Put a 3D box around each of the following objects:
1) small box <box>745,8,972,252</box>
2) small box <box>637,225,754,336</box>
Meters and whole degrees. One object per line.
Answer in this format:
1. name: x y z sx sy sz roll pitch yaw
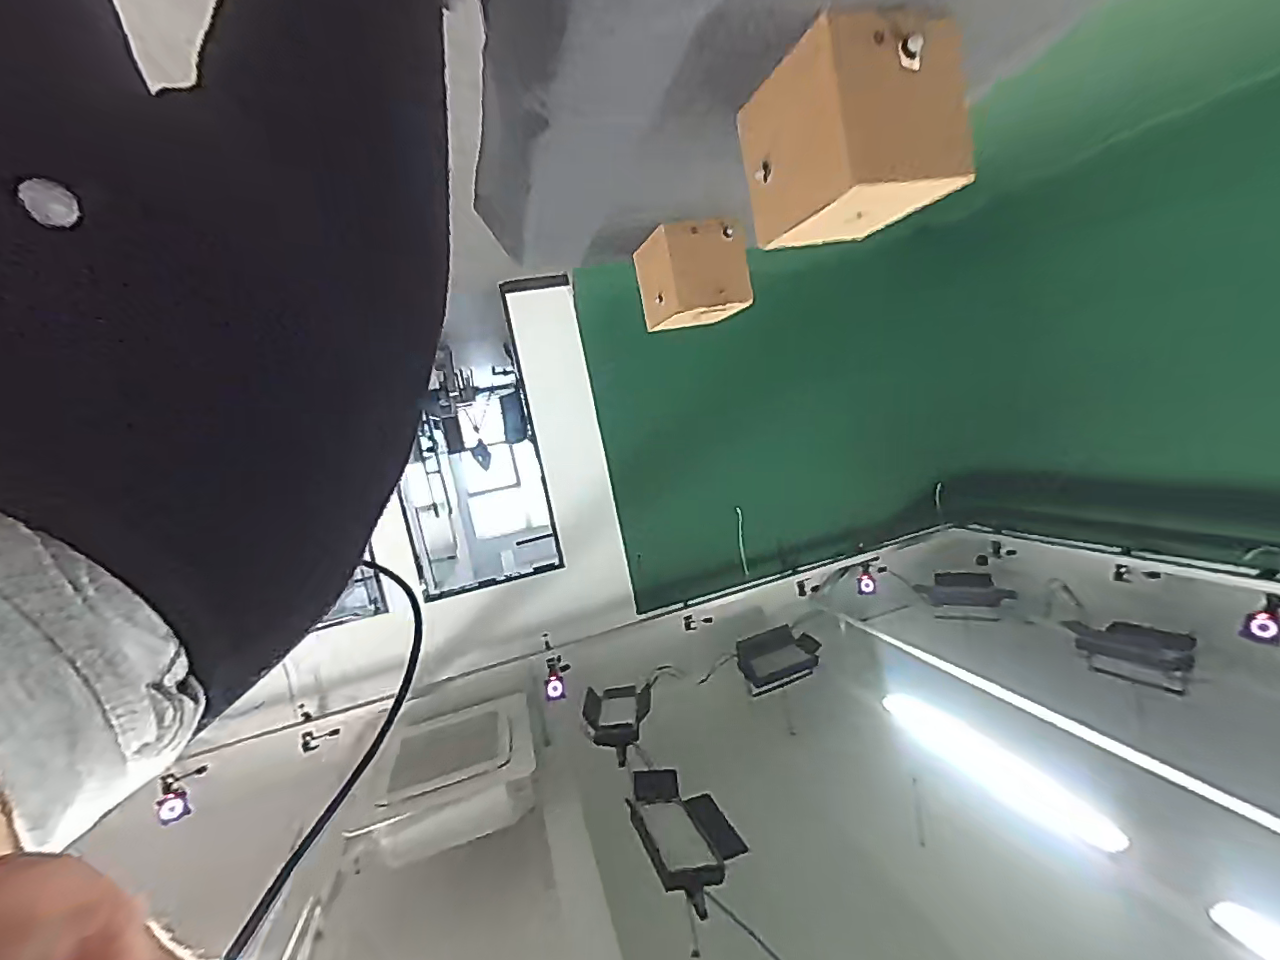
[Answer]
1. small box: 0.237 -0.385 0.621 0.168 0.176 0.179 -15 -174 -17
2. small box: 0.105 -0.407 1.104 0.168 0.176 0.179 -14 -173 -18
